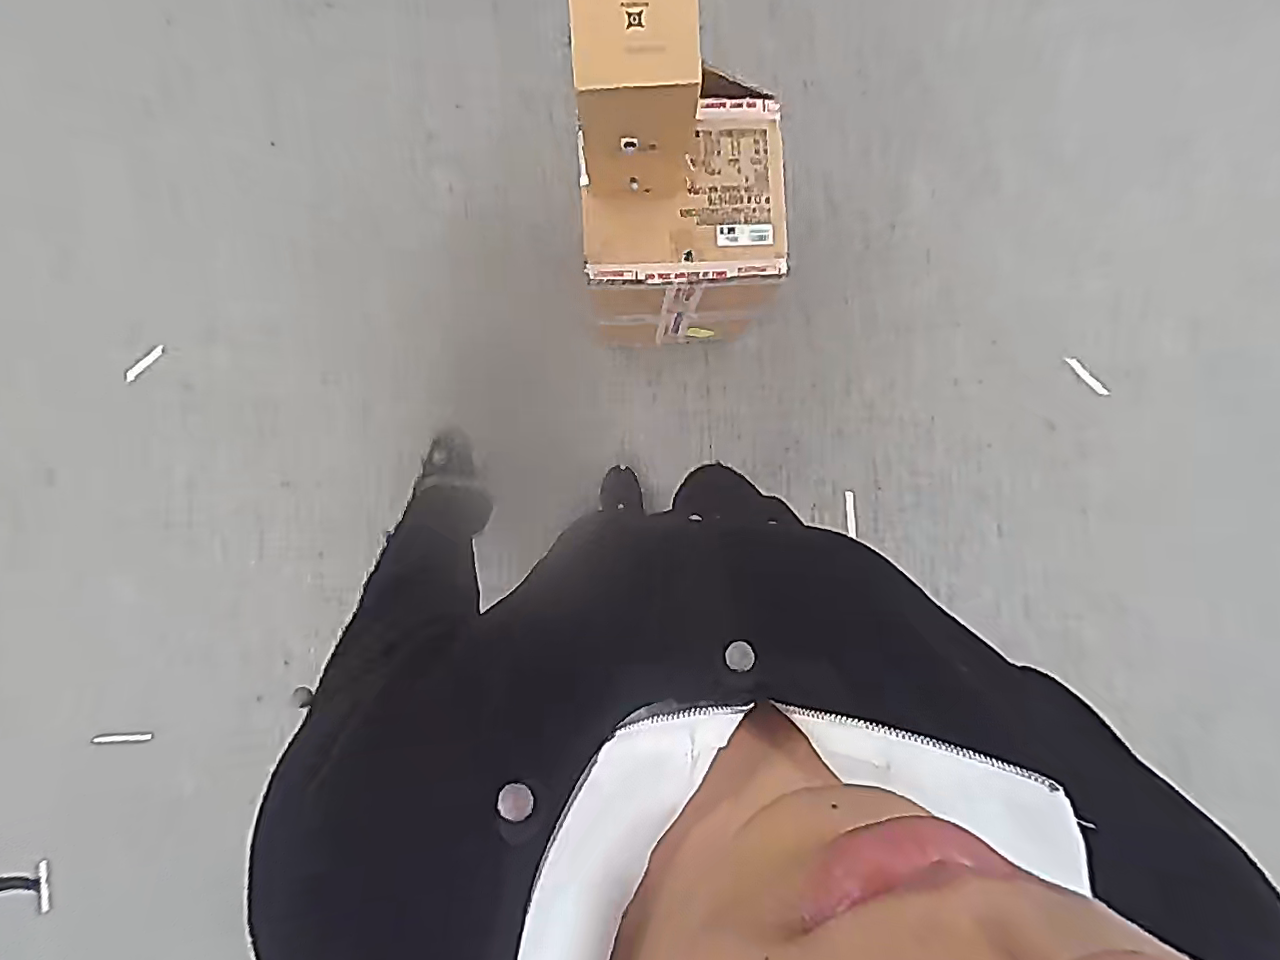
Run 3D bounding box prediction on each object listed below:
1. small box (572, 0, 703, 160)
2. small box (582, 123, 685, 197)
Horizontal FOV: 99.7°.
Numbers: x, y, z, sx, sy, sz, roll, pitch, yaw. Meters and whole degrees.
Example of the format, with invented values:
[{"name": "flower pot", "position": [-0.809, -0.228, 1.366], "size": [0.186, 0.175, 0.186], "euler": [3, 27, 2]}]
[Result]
[{"name": "small box", "position": [-0.005, -0.587, 0.763], "size": [0.168, 0.176, 0.179], "euler": [-3, 93, 1]}, {"name": "small box", "position": [-0.013, -0.614, 0.925], "size": [0.168, 0.176, 0.179], "euler": [-3, 93, 0]}]
